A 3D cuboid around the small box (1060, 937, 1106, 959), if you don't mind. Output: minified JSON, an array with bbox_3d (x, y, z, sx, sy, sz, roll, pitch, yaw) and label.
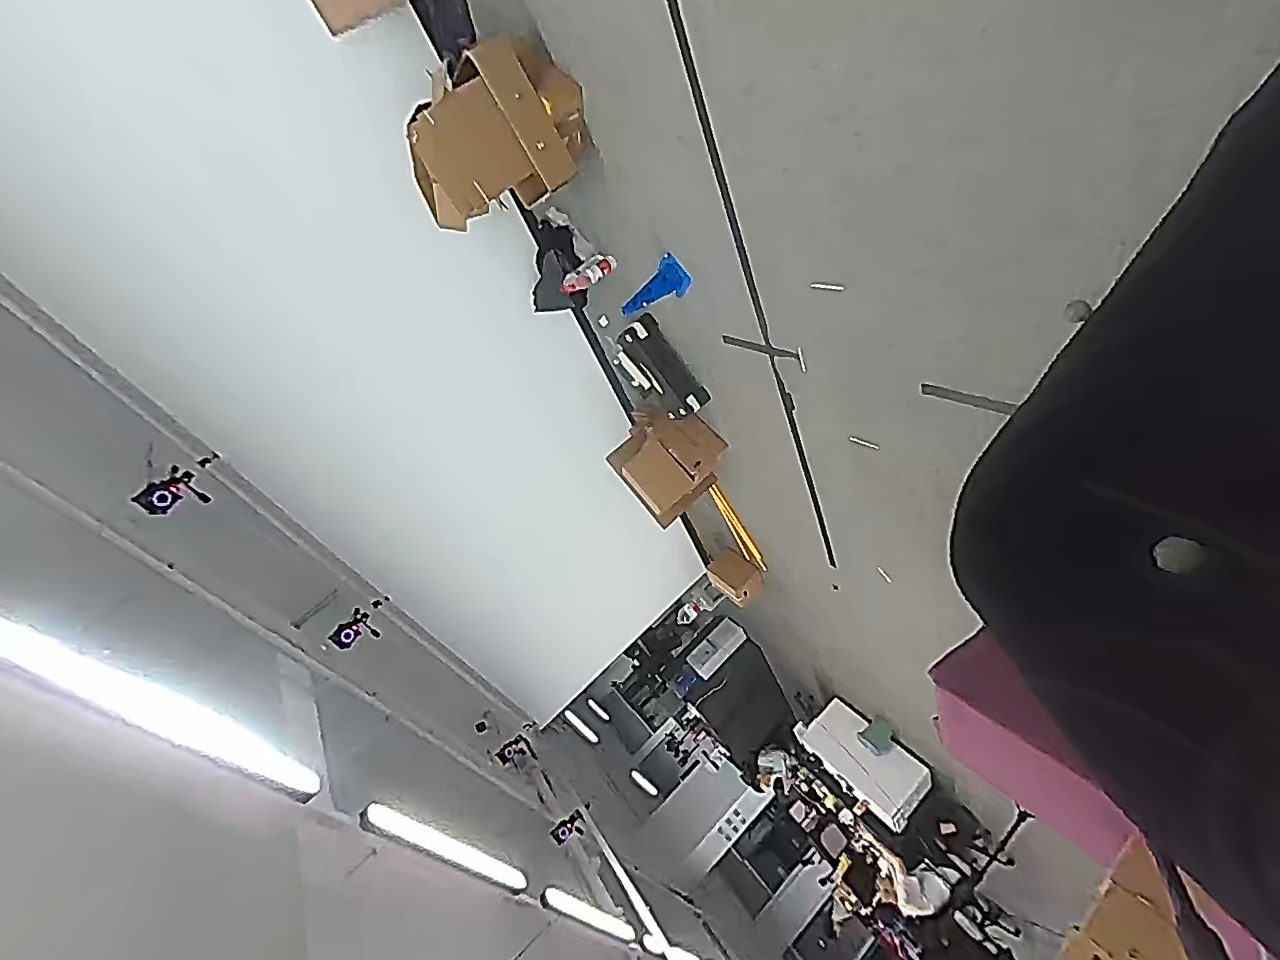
[{"bbox_3d":[1.194,1.352,1.413,0.168,0.176,0.179,27,155,54],"label":"small box"}]

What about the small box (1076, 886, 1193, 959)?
[{"bbox_3d":[1.309,1.239,1.440,0.179,0.176,0.168,33,158,47],"label":"small box"}]
